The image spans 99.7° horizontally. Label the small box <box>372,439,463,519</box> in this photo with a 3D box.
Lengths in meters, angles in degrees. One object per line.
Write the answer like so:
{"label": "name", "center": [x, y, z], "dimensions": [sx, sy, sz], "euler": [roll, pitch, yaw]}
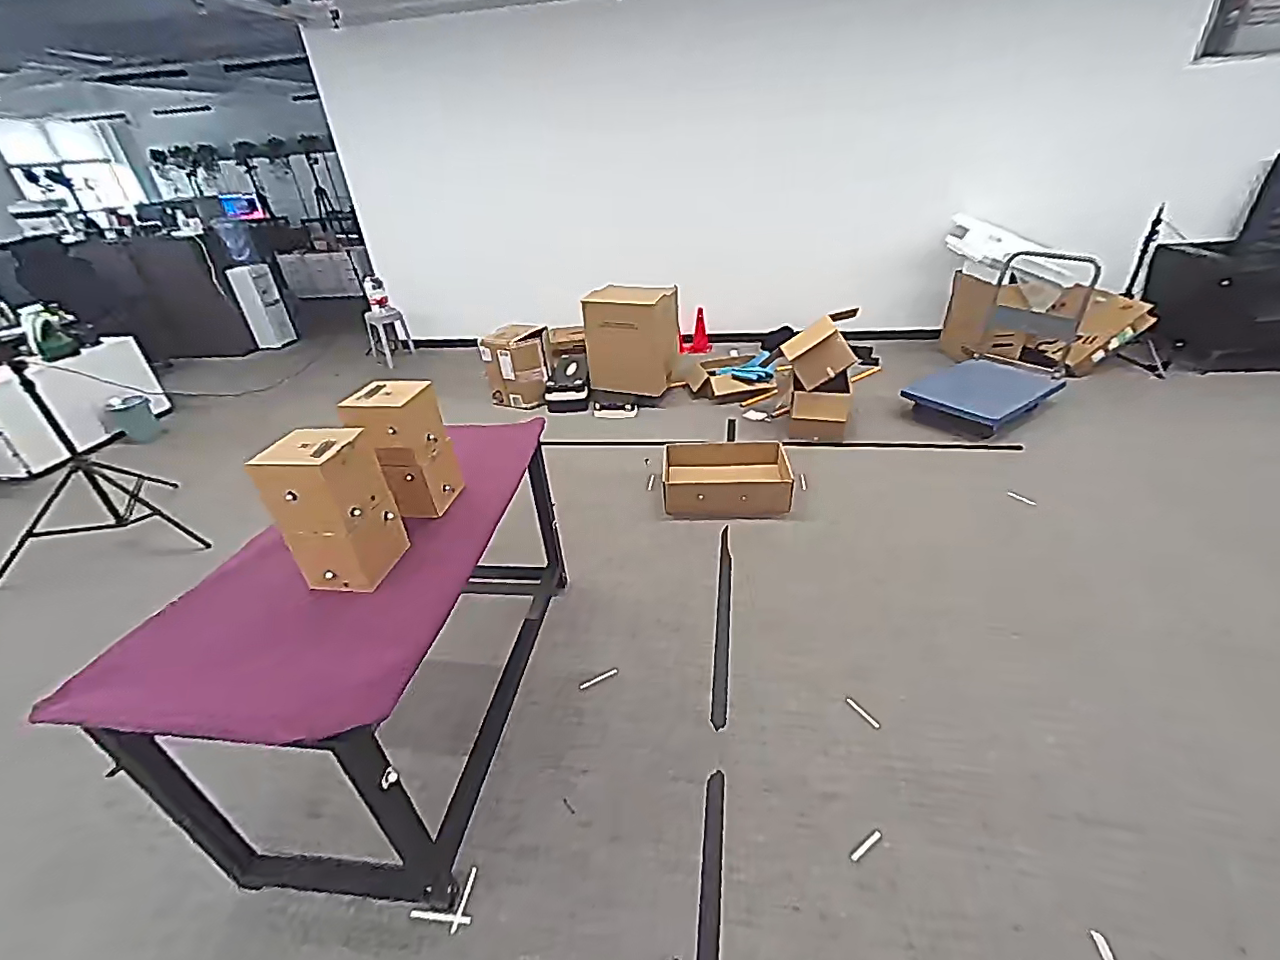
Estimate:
{"label": "small box", "center": [-0.624, -0.002, 1.505], "dimensions": [0.179, 0.176, 0.168], "euler": [1, 32, 10]}

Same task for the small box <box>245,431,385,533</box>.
{"label": "small box", "center": [-0.697, 0.005, 1.186], "dimensions": [0.179, 0.176, 0.168], "euler": [0, 31, 9]}

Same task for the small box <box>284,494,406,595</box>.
{"label": "small box", "center": [-0.678, 0.145, 1.271], "dimensions": [0.168, 0.176, 0.179], "euler": [1, 32, 10]}
